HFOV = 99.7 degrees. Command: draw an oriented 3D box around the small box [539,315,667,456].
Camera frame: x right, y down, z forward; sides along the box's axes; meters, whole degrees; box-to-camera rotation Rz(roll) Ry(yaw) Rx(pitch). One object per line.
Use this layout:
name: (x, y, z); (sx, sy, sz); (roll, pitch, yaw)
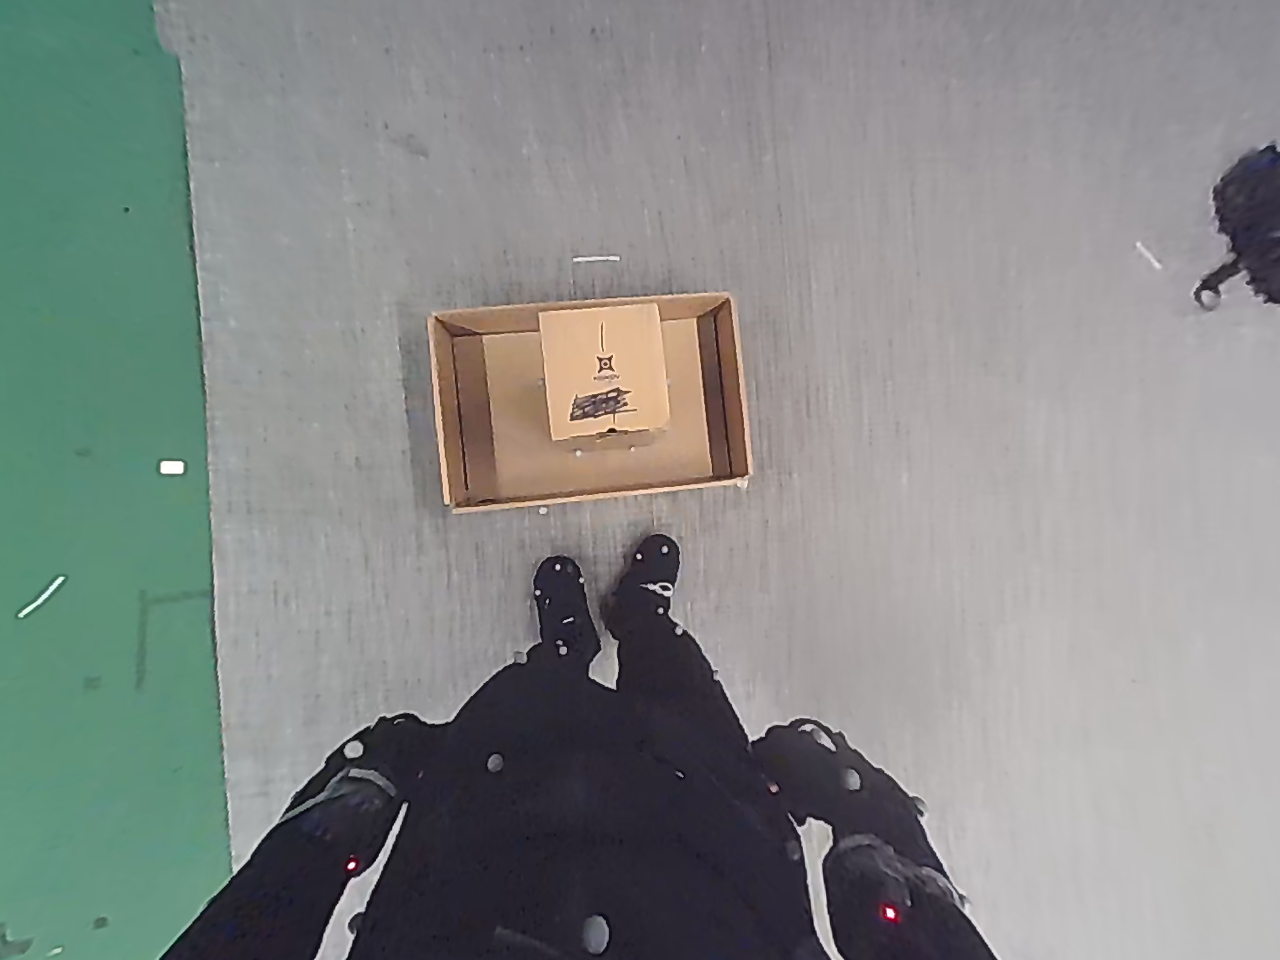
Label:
small box: (-0.055, -0.131, 0.818); (0.168, 0.176, 0.179); (-6, 87, -5)
